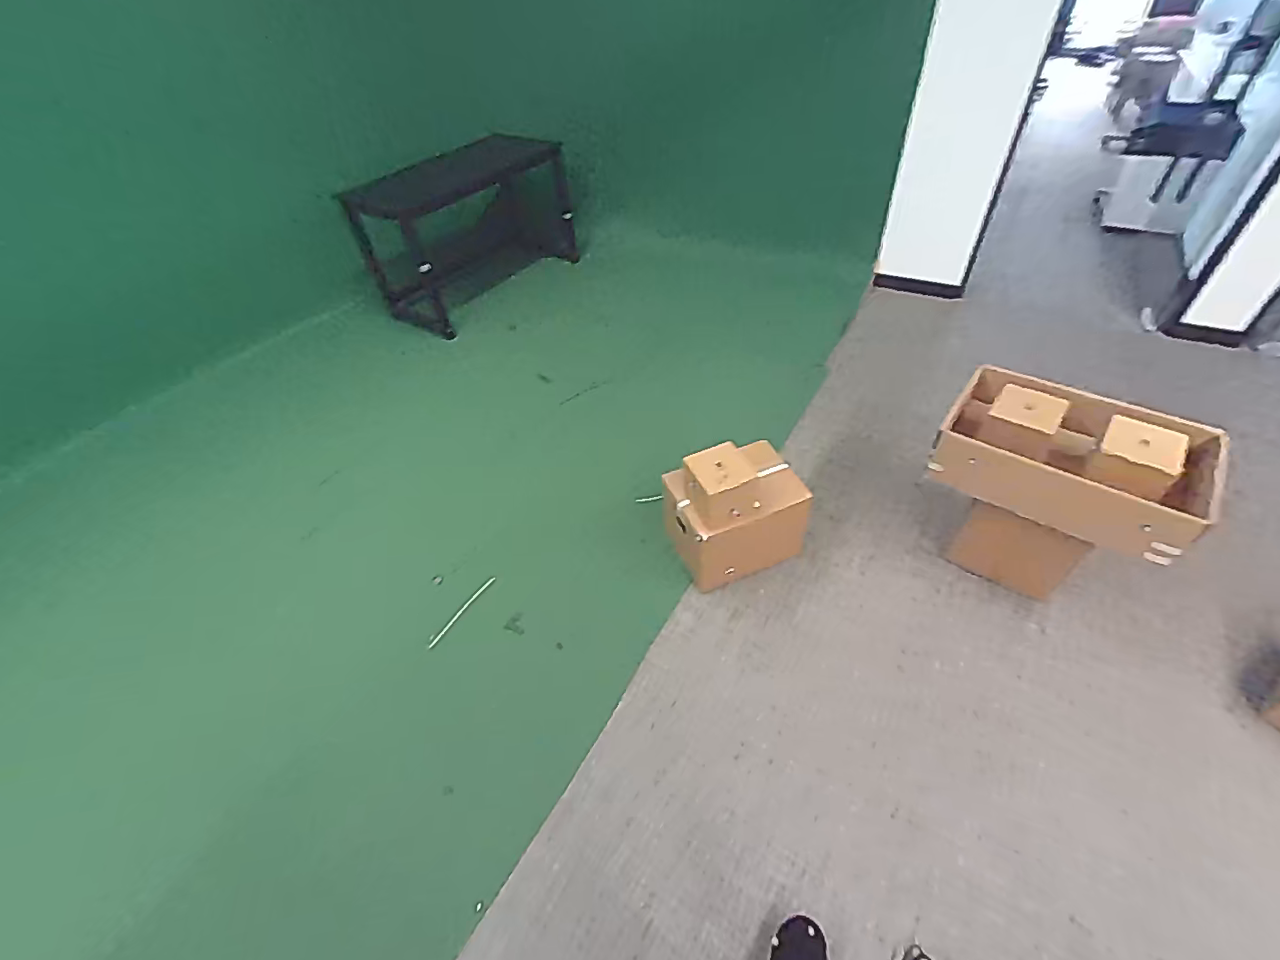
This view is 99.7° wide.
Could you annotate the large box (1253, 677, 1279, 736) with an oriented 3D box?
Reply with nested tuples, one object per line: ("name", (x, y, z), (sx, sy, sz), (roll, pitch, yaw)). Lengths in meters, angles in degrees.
("large box", (1.883, 0.582, 1.295), (0.320, 0.320, 0.408), (-29, 49, -21))

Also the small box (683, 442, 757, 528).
("small box", (0.240, 0.016, 1.669), (0.168, 0.176, 0.179), (-20, 49, -13))

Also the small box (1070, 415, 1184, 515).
("small box", (1.314, -0.040, 1.467), (0.168, 0.176, 0.179), (29, 57, 29))
